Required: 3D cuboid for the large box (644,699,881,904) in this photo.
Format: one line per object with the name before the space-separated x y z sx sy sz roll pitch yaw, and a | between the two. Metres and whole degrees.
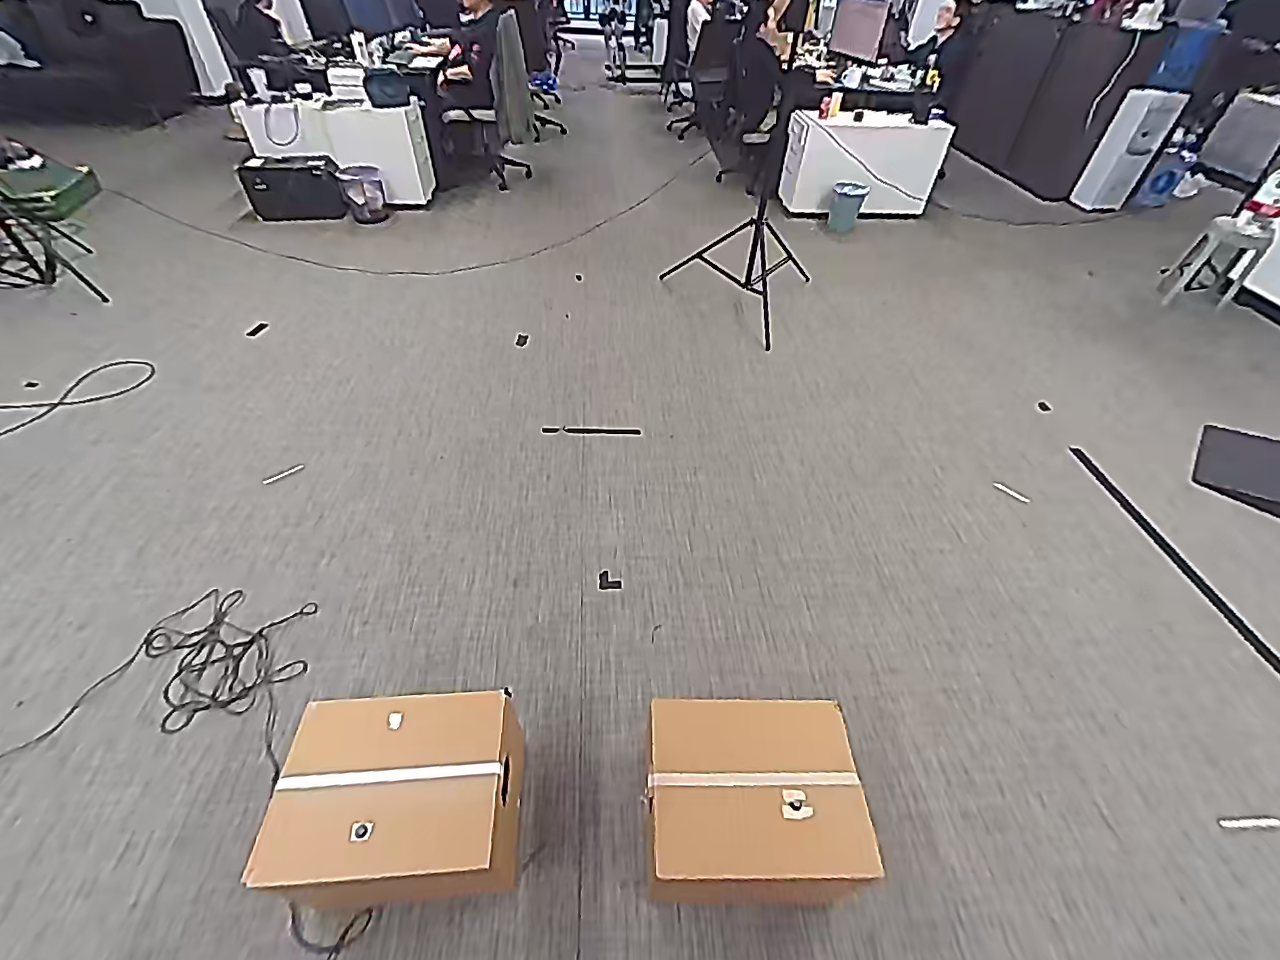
large box | 0.221 0.686 1.157 0.408 0.320 0.320 2 45 -3
